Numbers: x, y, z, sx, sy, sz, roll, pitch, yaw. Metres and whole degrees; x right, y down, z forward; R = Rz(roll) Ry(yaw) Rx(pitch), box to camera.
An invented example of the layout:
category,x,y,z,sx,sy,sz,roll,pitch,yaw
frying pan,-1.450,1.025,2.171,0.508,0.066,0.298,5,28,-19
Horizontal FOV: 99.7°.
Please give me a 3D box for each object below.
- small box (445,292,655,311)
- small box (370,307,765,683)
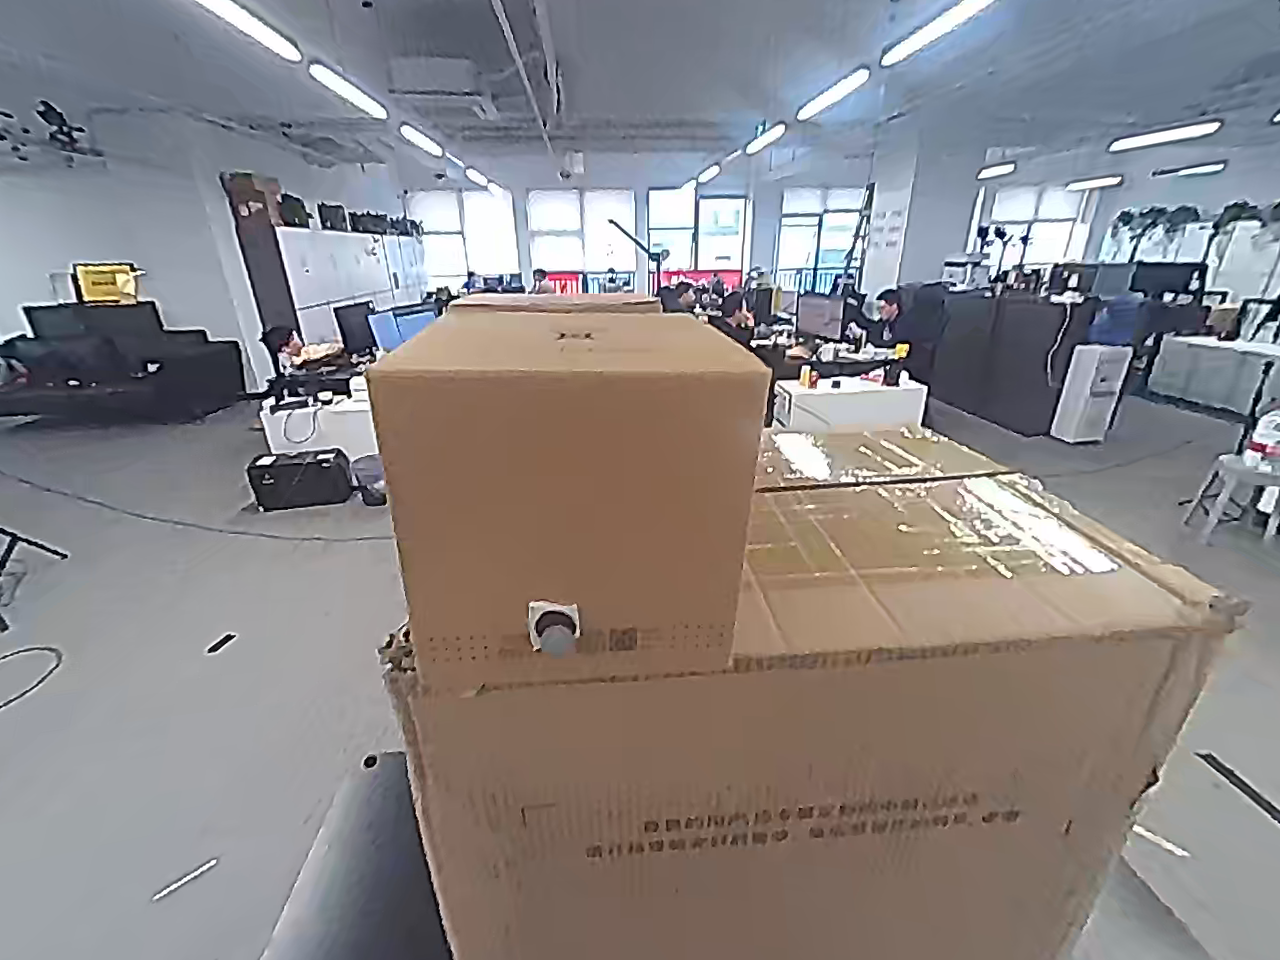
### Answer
category,x,y,z,sx,sy,sz,roll,pitch,yaw
small box,-0.077,-0.090,0.523,0.168,0.176,0.179,-3,21,-6
small box,-0.039,-0.007,0.328,0.168,0.176,0.179,-3,25,-7
